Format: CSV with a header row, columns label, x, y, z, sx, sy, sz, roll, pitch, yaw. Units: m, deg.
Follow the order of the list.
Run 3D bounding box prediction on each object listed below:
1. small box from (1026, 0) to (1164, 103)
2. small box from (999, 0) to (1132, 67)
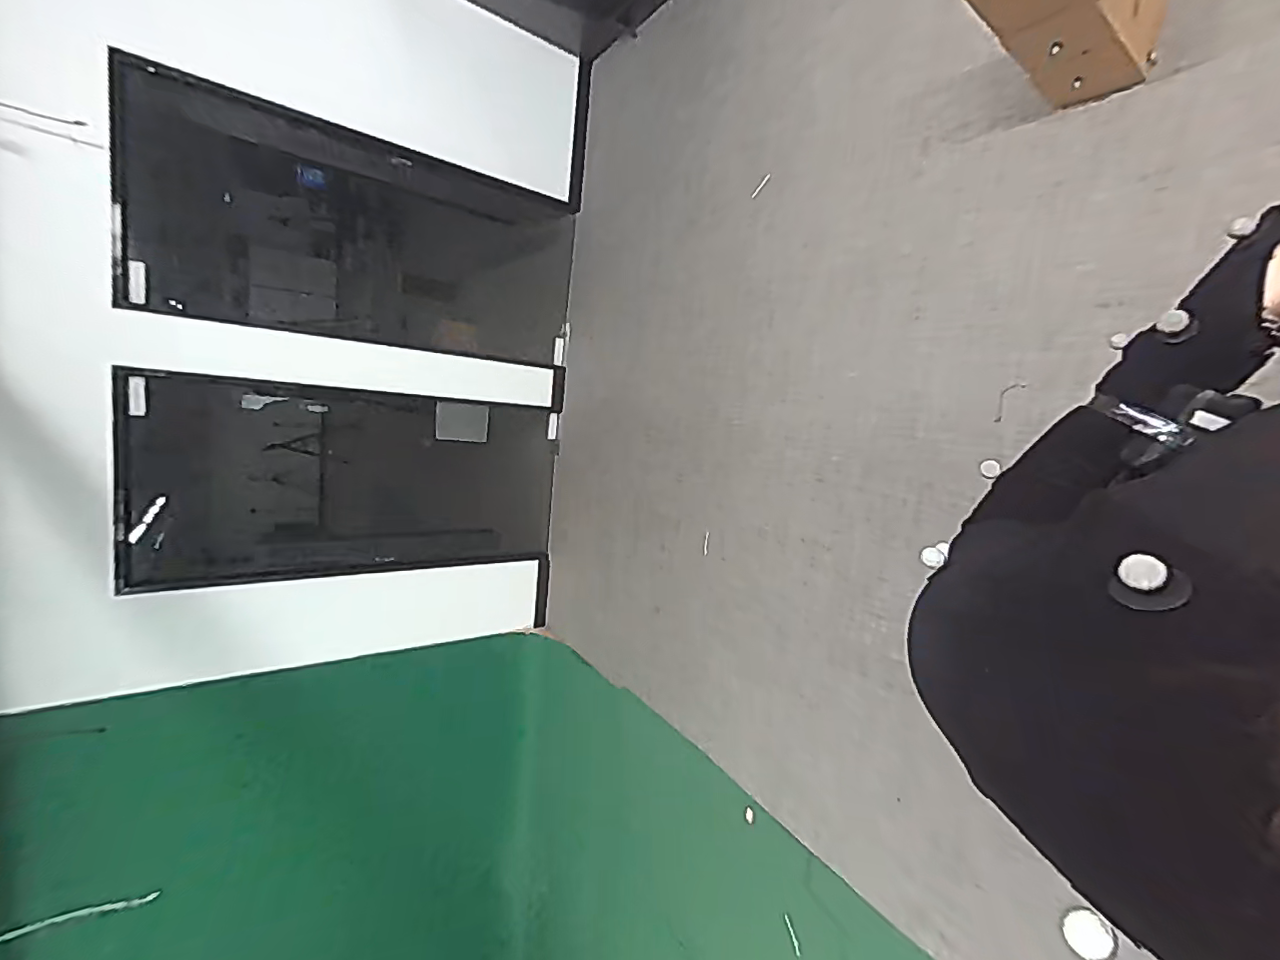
label,x,y,z,sx,sy,sz,roll,pitch,yaw
small box,0.978,-0.956,1.161,0.179,0.176,0.168,19,105,55
small box,0.847,-0.958,1.062,0.168,0.176,0.179,19,105,53
